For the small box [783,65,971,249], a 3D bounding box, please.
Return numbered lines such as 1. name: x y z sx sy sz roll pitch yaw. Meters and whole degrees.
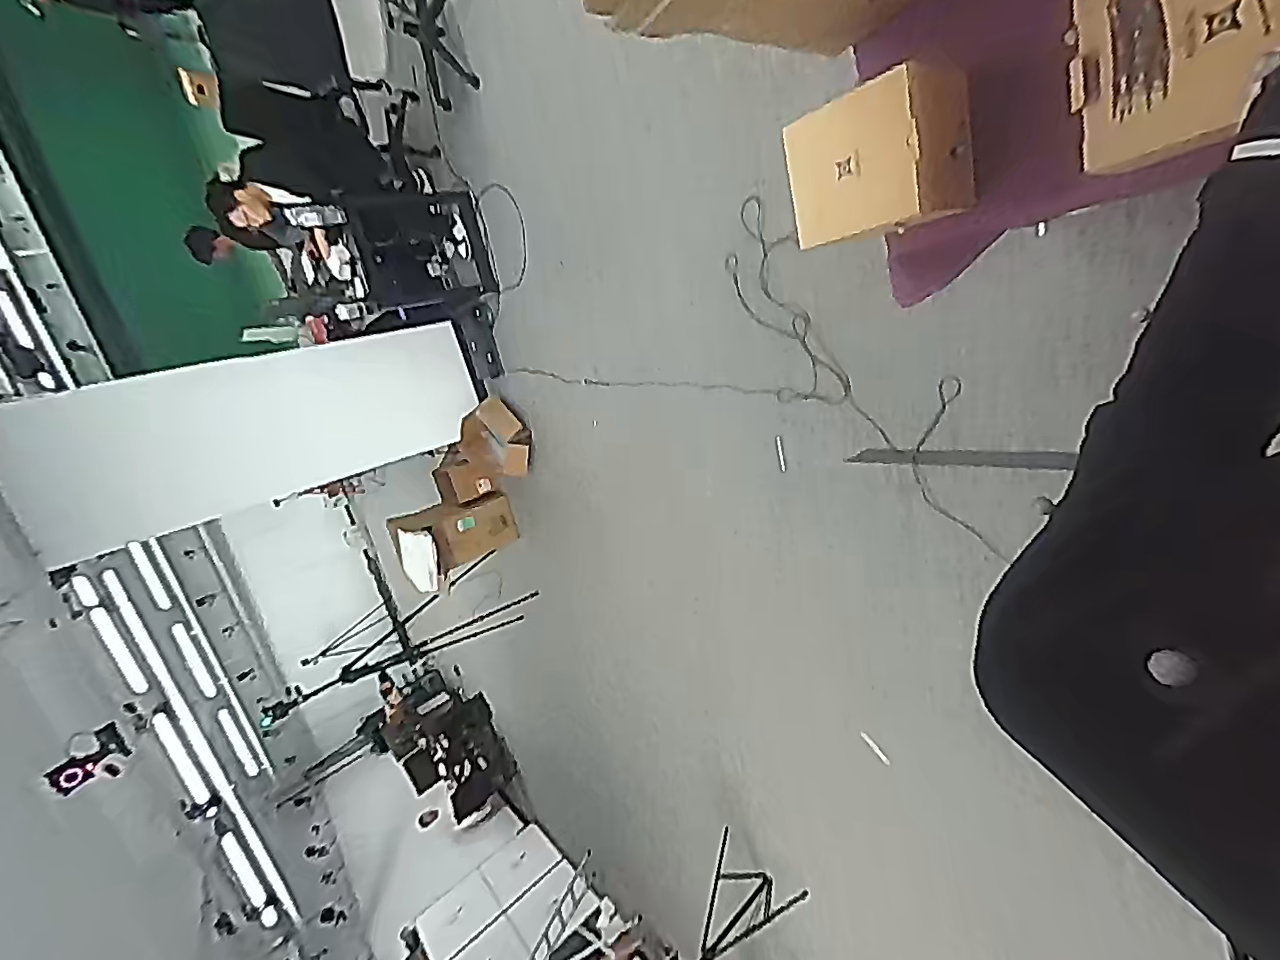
1. small box: 0.330 -0.433 0.753 0.179 0.176 0.168 5 114 51
